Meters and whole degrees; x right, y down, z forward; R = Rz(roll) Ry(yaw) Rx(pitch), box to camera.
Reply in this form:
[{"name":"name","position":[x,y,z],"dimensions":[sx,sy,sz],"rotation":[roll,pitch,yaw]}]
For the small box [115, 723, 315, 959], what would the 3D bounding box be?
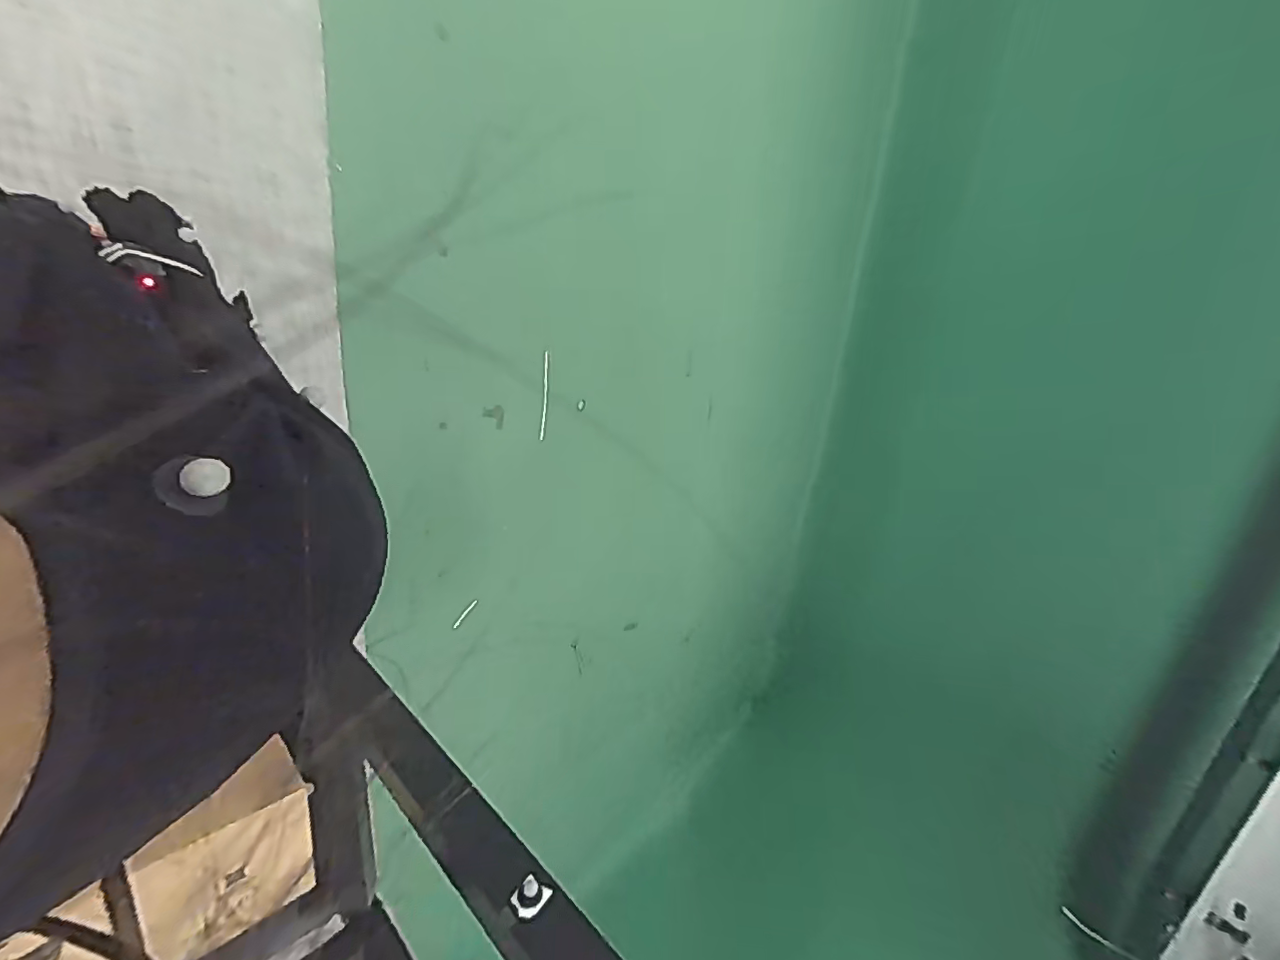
[{"name":"small box","position":[-0.537,0.443,0.688],"dimensions":[0.168,0.176,0.179],"rotation":[-12,117,-46]}]
